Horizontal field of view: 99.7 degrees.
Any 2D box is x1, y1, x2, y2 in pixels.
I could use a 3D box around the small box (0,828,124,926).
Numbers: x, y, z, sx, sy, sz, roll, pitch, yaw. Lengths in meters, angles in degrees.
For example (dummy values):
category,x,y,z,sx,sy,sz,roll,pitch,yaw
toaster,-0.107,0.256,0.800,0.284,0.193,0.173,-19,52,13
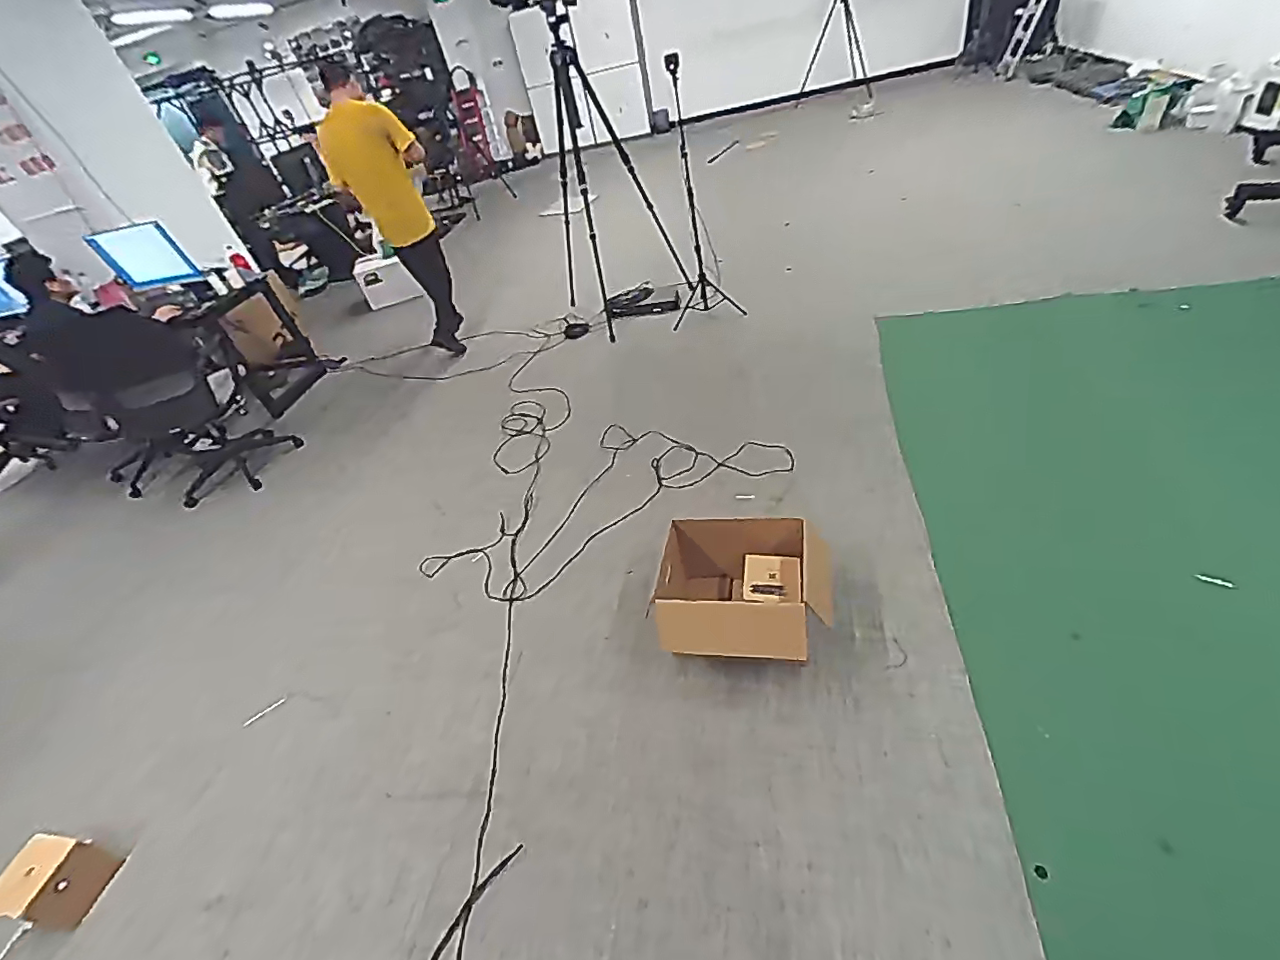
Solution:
category,x,y,z,sx,sy,sz,roll,pitch,yaw
small box,-1.588,1.089,1.482,0.168,0.176,0.179,-3,43,14
